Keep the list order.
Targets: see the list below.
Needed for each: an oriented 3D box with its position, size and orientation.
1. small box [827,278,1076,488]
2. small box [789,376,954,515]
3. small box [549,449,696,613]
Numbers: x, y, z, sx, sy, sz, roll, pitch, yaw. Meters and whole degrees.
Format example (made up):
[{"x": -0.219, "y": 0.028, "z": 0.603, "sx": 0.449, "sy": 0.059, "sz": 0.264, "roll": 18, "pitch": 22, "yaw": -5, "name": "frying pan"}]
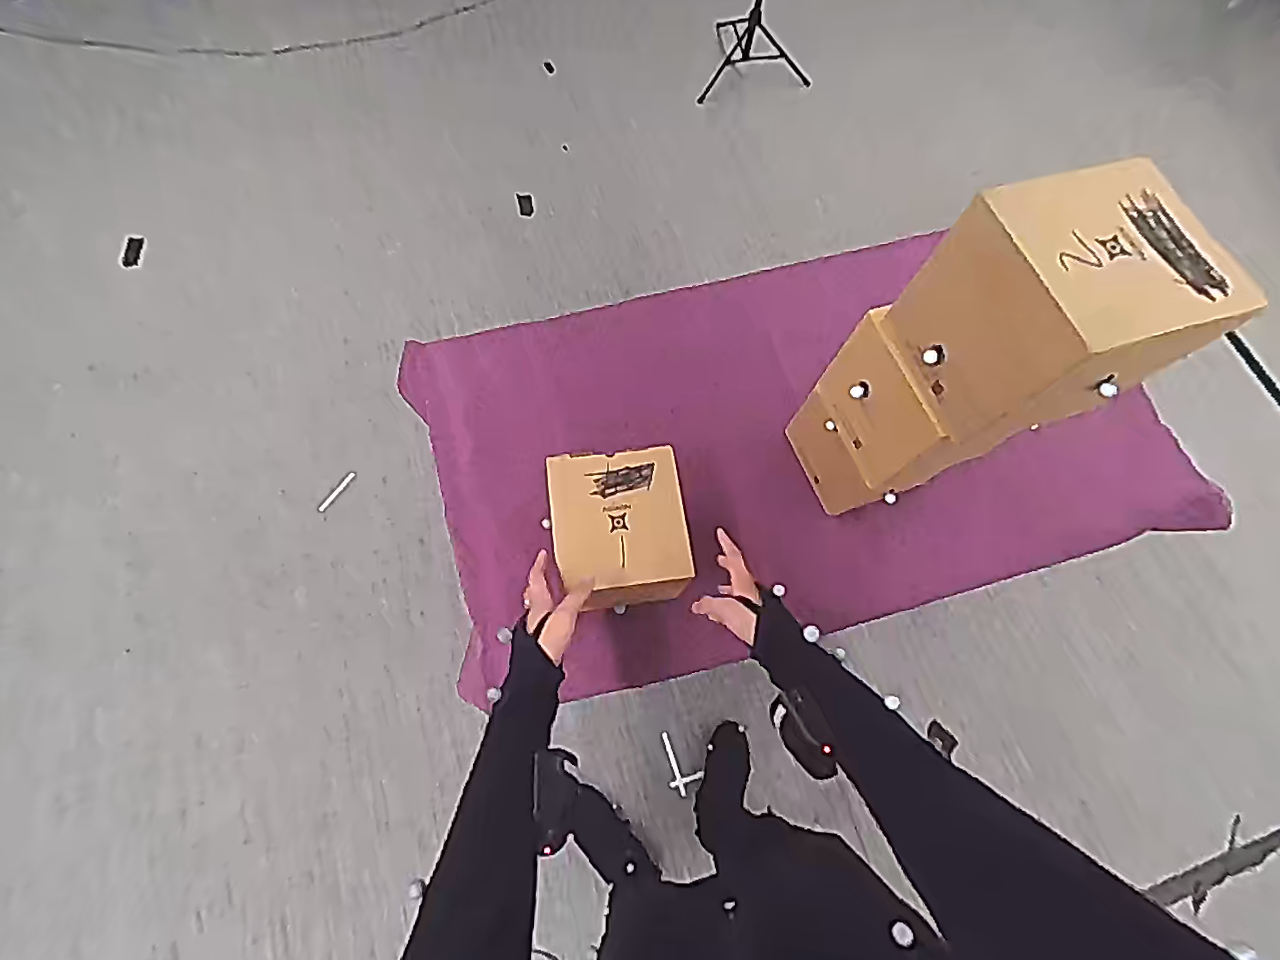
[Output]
[{"x": 0.352, "y": -0.108, "z": 0.657, "sx": 0.179, "sy": 0.176, "sz": 0.168, "roll": -18, "pitch": 71, "yaw": -11, "name": "small box"}, {"x": 0.356, "y": -0.065, "z": 0.816, "sx": 0.179, "sy": 0.176, "sz": 0.168, "roll": -18, "pitch": 71, "yaw": -11, "name": "small box"}, {"x": -0.031, "y": 0.075, "z": 0.736, "sx": 0.168, "sy": 0.176, "sz": 0.179, "roll": -6, "pitch": 70, "yaw": -6, "name": "small box"}]
